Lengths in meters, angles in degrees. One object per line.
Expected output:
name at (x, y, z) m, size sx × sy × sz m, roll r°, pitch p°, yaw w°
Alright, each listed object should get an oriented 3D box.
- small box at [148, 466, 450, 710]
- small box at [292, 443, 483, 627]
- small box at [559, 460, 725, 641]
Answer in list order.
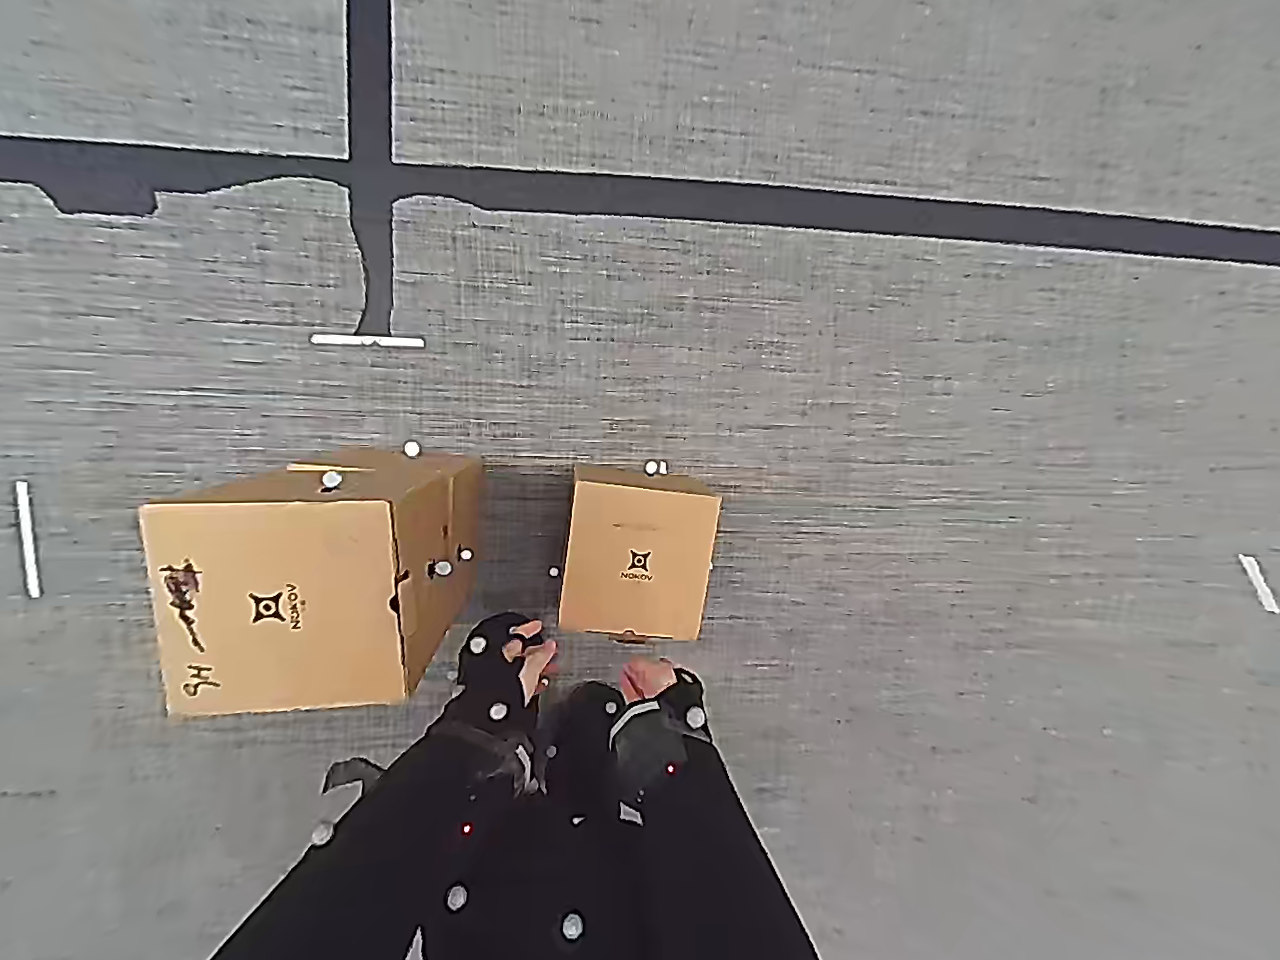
small box at (-0.272, 0.078, 0.480) m, size 0.179 × 0.176 × 0.168 m, roll 0°, pitch 98°, yaw -8°
small box at (-0.286, 0.056, 0.643) m, size 0.168 × 0.176 × 0.179 m, roll 4°, pitch 98°, yaw -8°
small box at (-0.007, 0.079, 0.681) m, size 0.168 × 0.176 × 0.179 m, roll 8°, pitch 97°, yaw -8°
